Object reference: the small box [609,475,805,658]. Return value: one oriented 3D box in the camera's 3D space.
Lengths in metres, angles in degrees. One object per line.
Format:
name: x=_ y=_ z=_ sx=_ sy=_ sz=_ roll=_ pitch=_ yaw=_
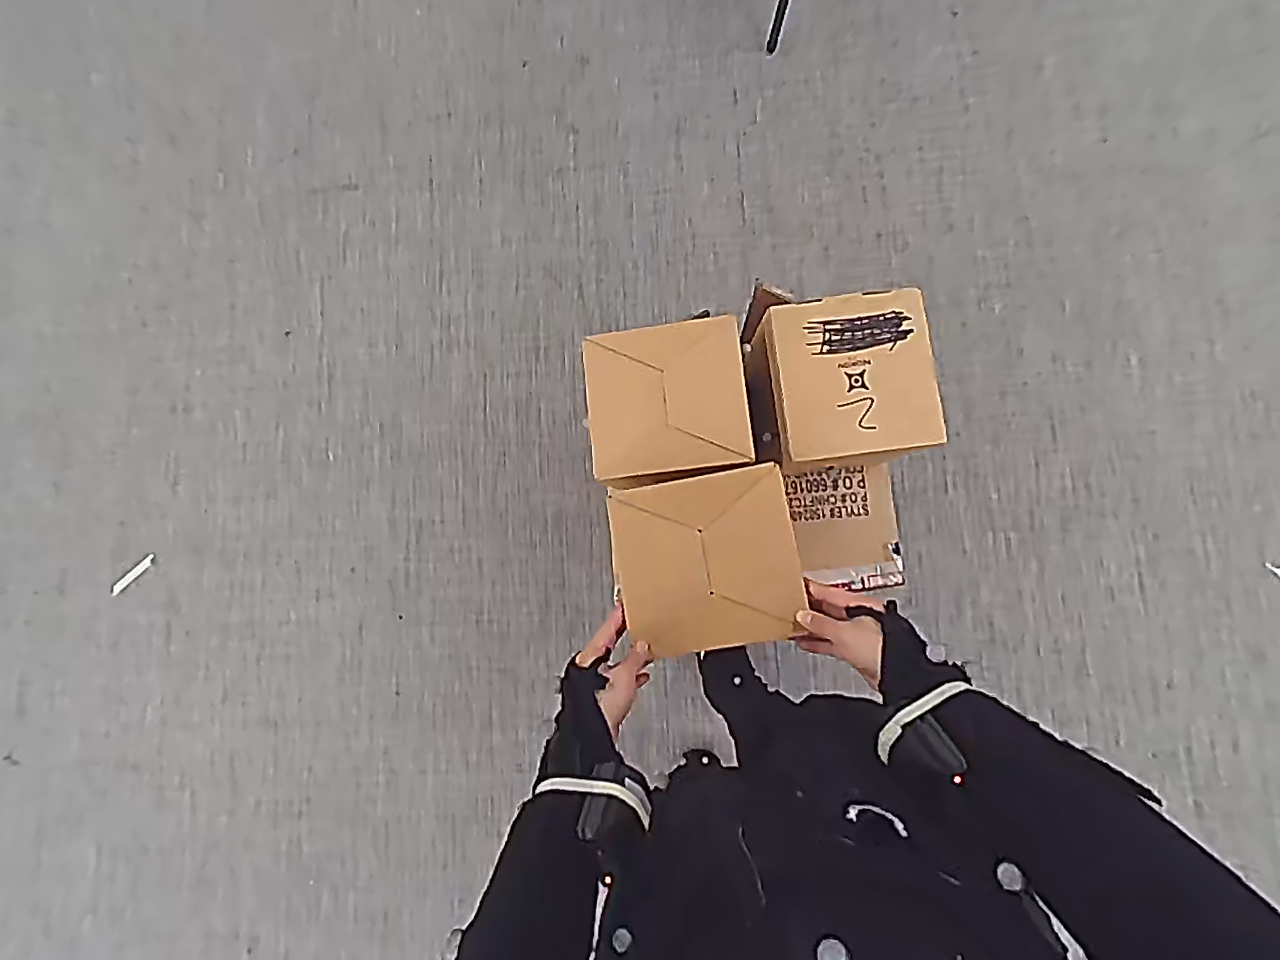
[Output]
small box: x=0.069 y=0.095 z=0.609 sx=0.179 sy=0.176 sz=0.168 roll=-10 pitch=82 yaw=4
